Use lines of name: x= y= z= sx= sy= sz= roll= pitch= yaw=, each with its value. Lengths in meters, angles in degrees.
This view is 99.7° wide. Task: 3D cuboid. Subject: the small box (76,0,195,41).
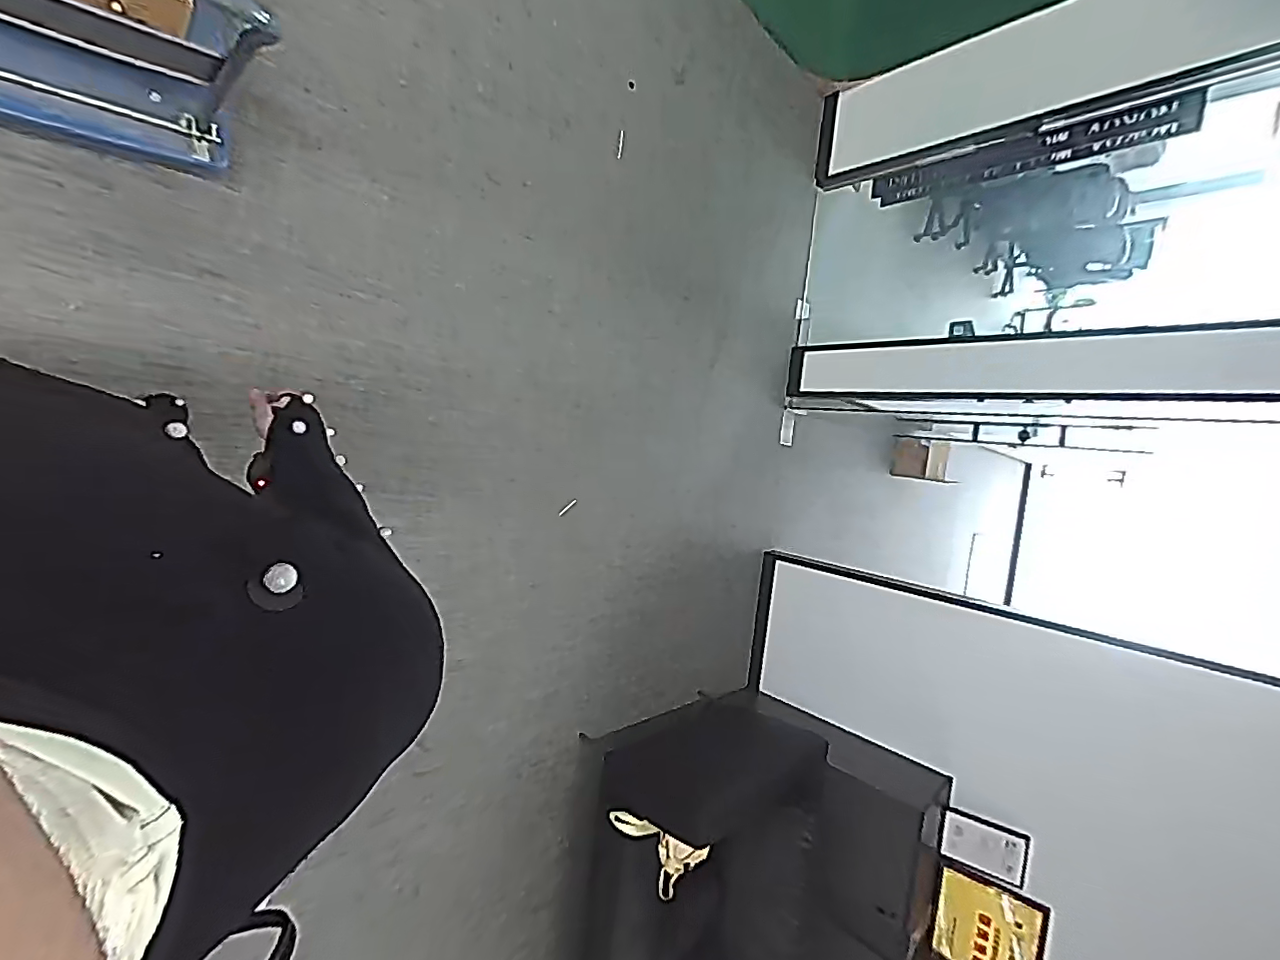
small box: x=-0.899 y=-0.934 z=0.947 sx=0.168 sy=0.176 sz=0.179 roll=-4 pitch=101 yaw=-45
